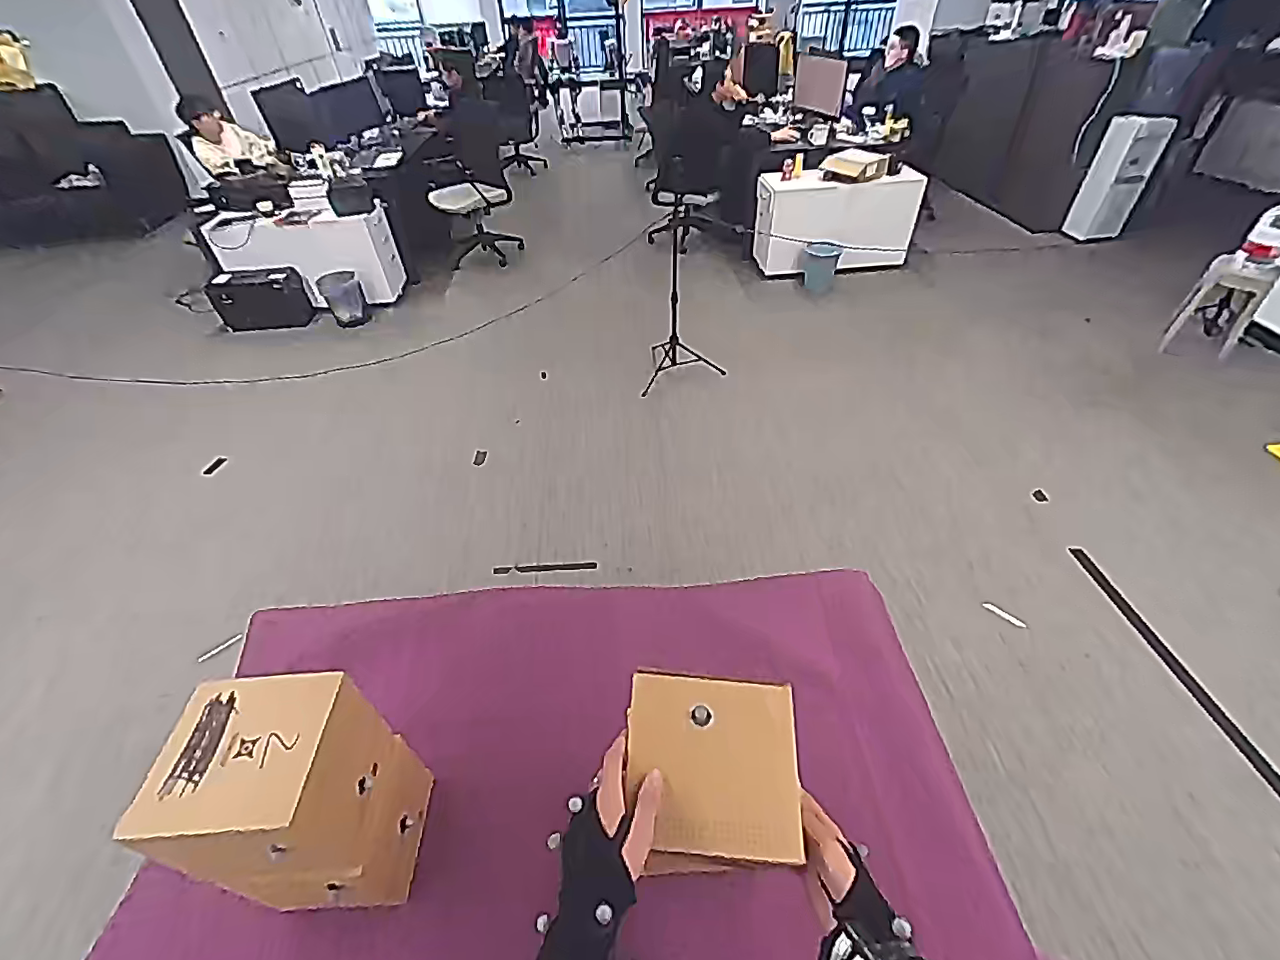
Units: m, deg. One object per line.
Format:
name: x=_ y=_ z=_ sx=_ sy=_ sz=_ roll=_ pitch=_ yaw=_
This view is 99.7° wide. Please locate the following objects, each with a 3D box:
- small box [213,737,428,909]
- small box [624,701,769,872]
small box: x=-0.415 y=0.472 z=0.746 sx=0.179 sy=0.176 sz=0.168 roll=-3 pitch=43 yaw=0
small box: x=0.072 y=0.433 z=0.762 sx=0.179 sy=0.176 sz=0.168 roll=-3 pitch=43 yaw=-1
